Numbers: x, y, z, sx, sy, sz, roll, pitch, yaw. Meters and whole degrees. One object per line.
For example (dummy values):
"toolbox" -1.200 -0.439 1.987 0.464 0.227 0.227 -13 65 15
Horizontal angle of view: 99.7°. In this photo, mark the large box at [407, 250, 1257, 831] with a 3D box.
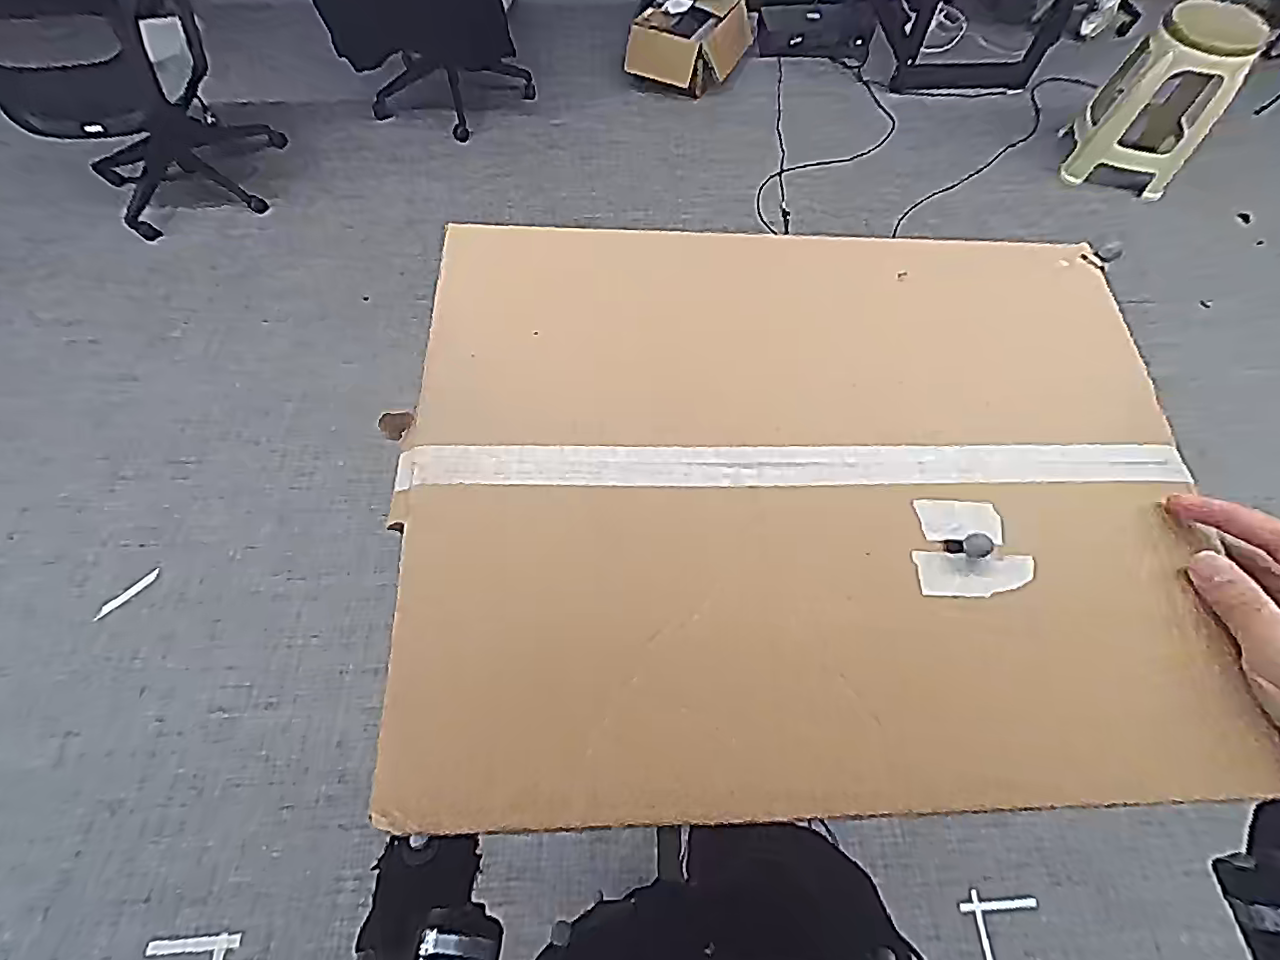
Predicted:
"large box" 0.079 0.052 0.431 0.408 0.320 0.320 0 70 -5
